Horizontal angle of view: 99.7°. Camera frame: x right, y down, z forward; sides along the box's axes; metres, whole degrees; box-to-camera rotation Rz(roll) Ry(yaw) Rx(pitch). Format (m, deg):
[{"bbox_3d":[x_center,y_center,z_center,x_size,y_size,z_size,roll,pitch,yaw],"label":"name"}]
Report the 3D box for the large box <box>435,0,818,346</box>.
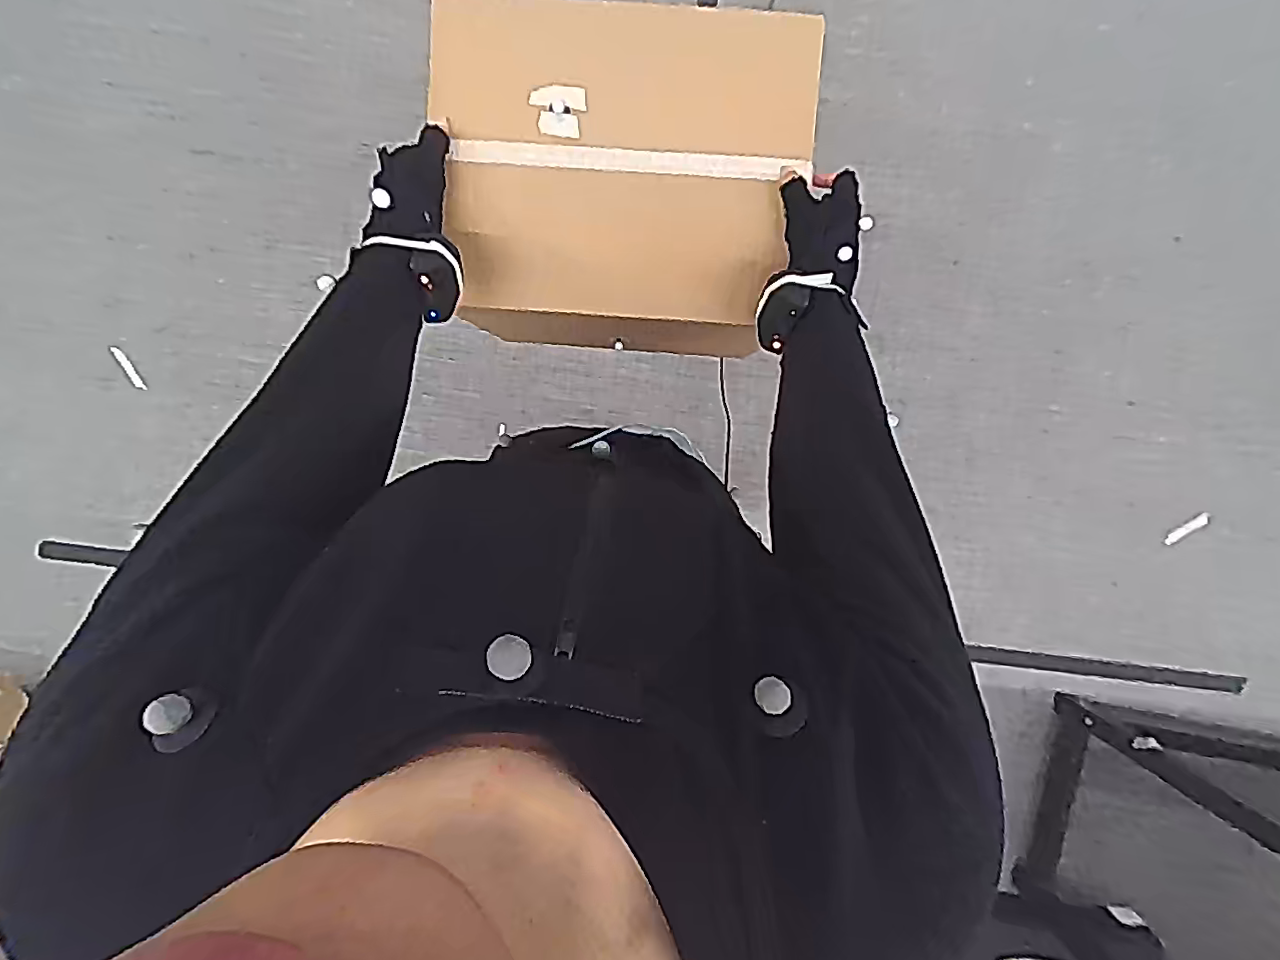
[{"bbox_3d":[-0.016,-0.359,0.725,0.408,0.320,0.320,4,96,1],"label":"large box"}]
